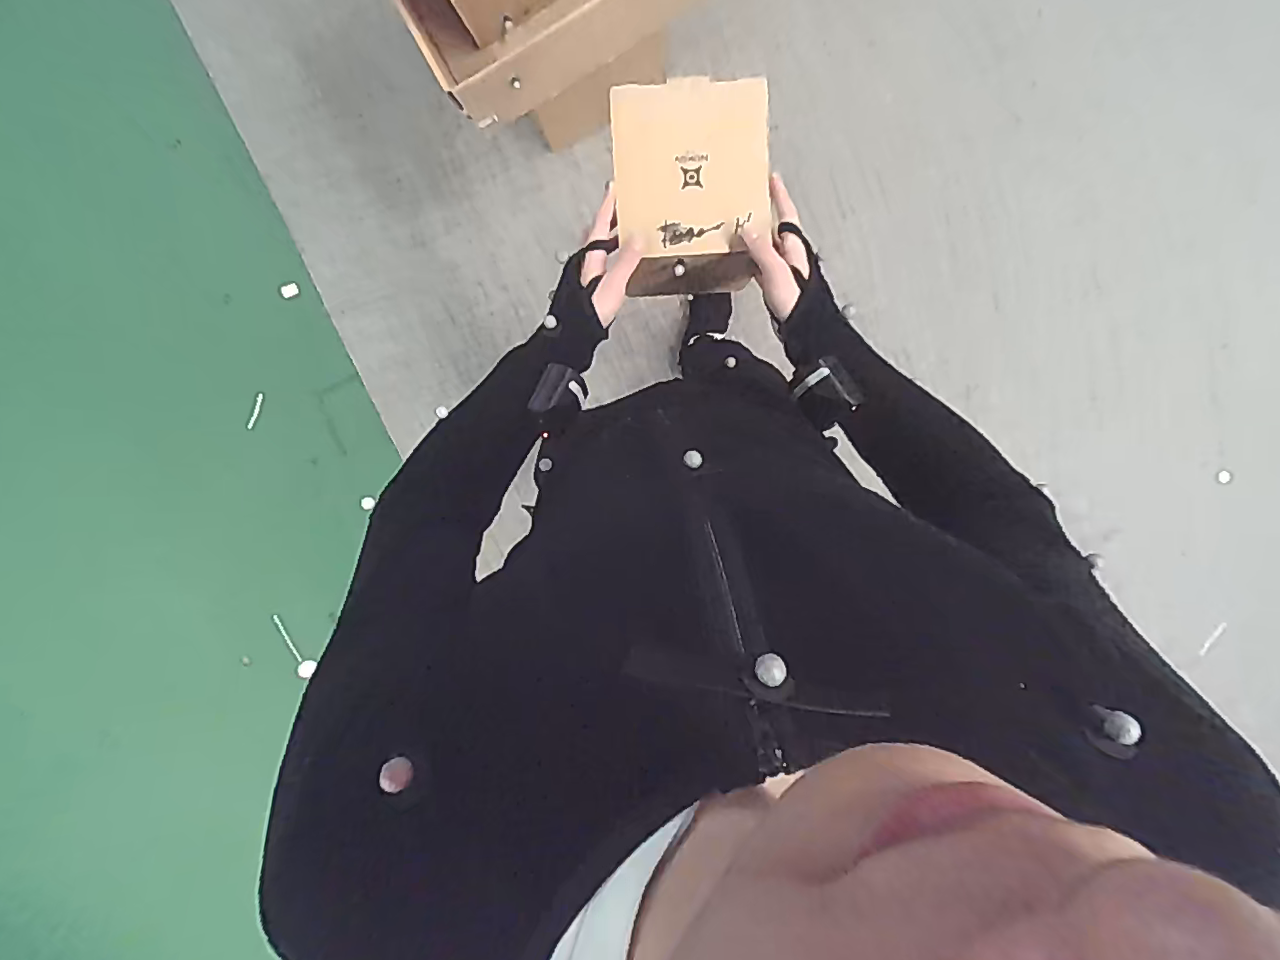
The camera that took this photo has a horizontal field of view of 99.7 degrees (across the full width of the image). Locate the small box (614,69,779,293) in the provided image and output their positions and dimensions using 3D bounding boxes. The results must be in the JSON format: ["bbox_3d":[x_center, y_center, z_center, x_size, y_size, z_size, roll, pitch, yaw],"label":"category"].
[{"bbox_3d":[0.058,-0.331,0.631,0.168,0.176,0.179,-4,96,1],"label":"small box"}]
